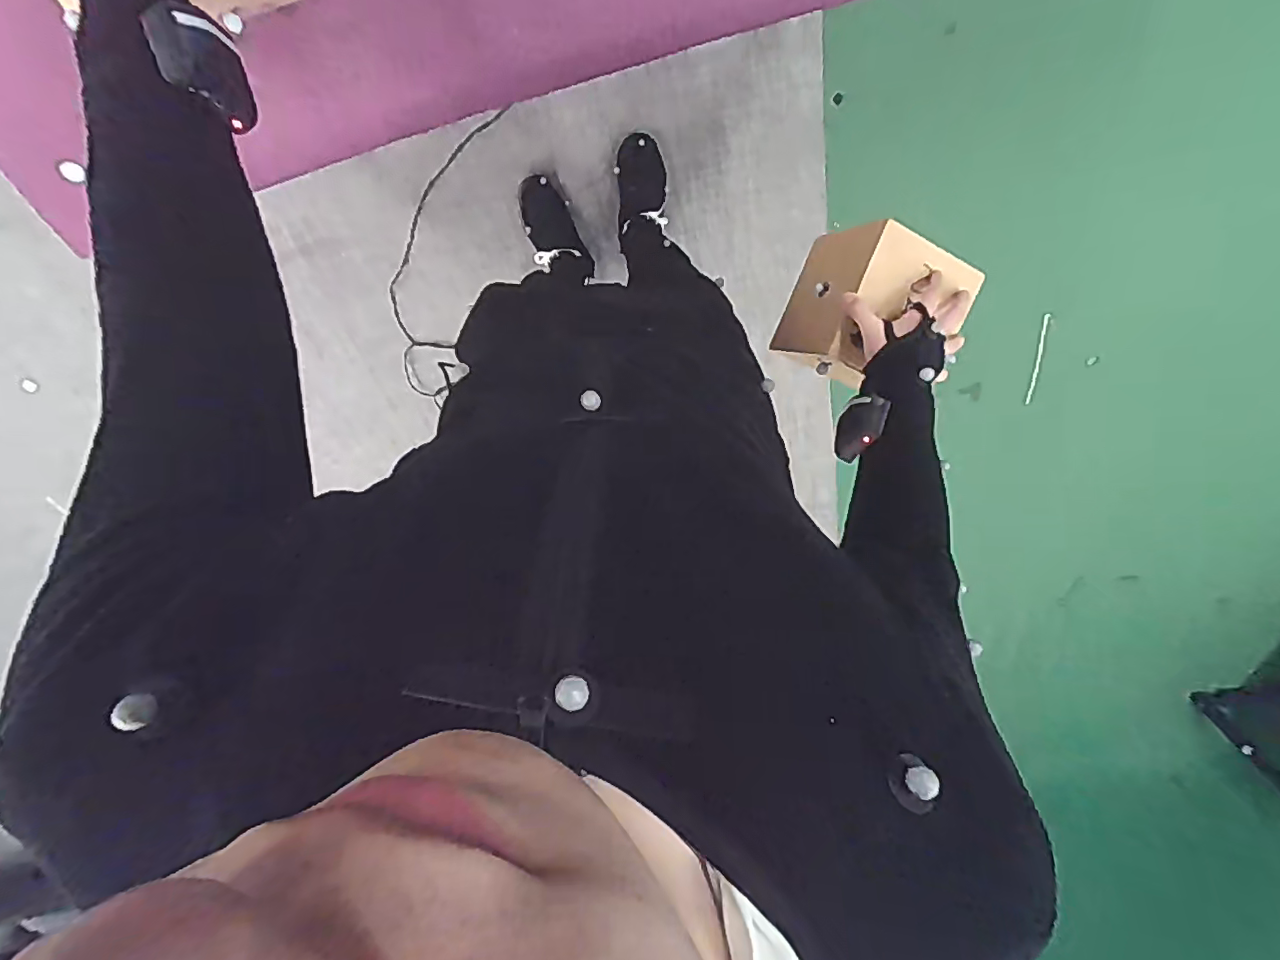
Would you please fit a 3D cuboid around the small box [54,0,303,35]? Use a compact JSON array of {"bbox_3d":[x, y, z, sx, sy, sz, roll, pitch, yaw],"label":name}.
[{"bbox_3d":[-0.424,-0.514,0.458,0.168,0.176,0.179,-15,127,4],"label":"small box"}]
